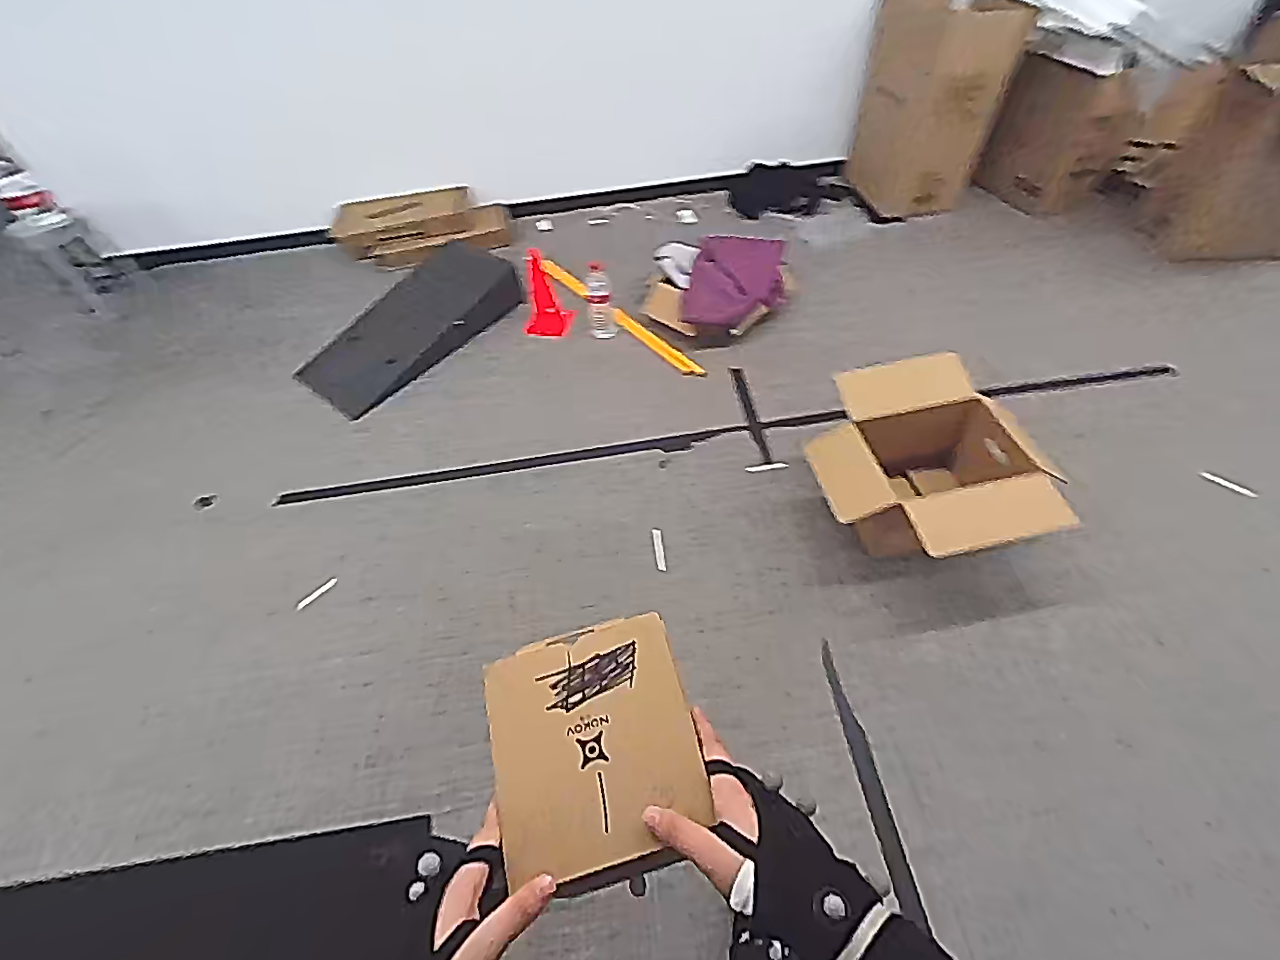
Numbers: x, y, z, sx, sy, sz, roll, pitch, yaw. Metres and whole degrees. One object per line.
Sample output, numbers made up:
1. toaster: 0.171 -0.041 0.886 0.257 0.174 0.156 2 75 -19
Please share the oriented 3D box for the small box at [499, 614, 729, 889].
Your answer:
1. small box: -0.022 0.258 0.508 0.168 0.176 0.179 -16 52 -1
